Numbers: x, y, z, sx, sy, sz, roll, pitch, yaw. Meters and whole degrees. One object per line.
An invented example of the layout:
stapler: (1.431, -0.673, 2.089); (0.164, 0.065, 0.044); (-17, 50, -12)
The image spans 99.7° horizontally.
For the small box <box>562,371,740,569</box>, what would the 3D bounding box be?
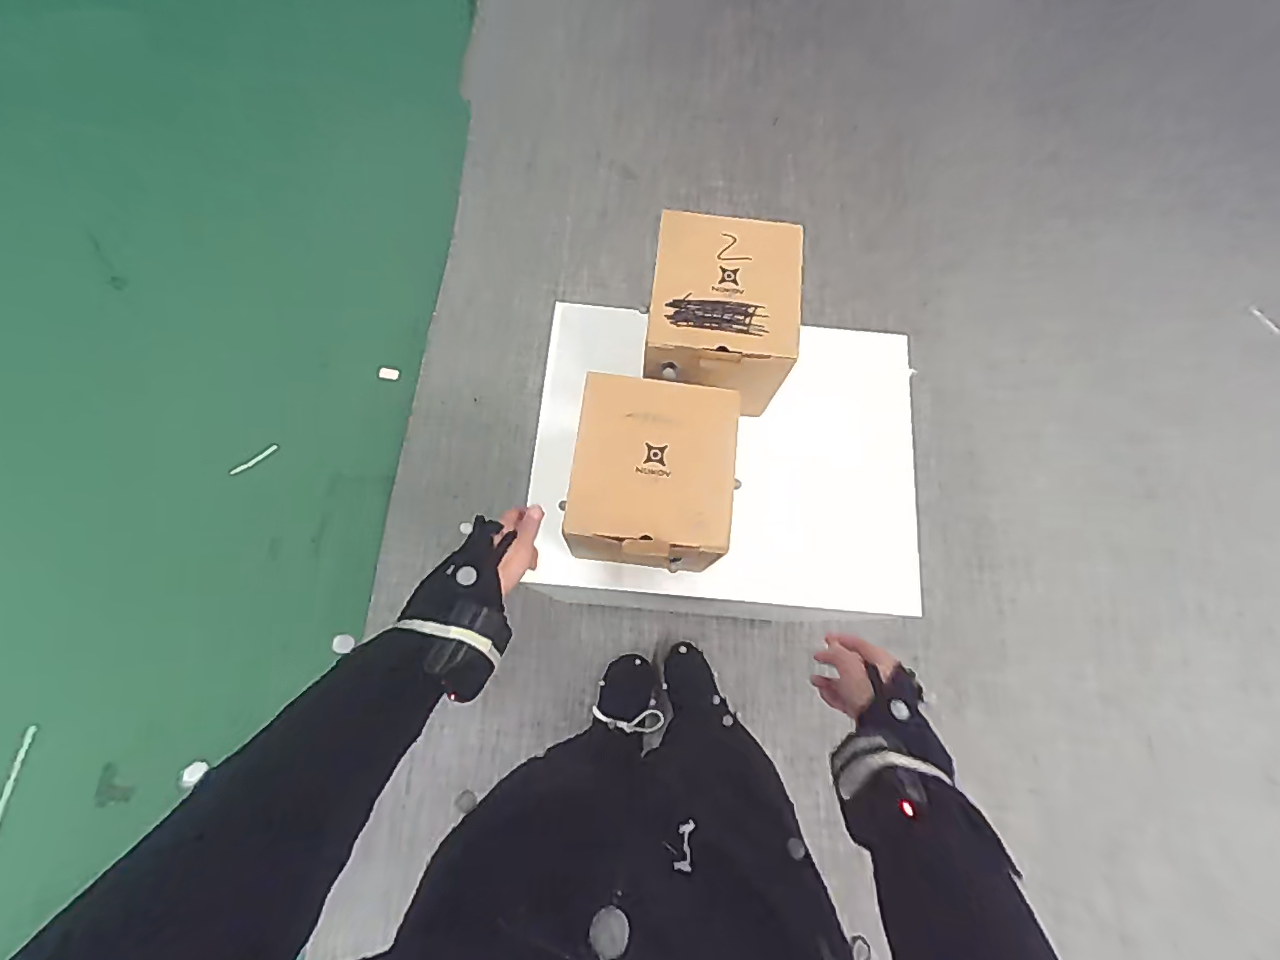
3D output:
small box: (0.010, 0.000, 0.619); (0.168, 0.176, 0.179); (7, 72, -3)
